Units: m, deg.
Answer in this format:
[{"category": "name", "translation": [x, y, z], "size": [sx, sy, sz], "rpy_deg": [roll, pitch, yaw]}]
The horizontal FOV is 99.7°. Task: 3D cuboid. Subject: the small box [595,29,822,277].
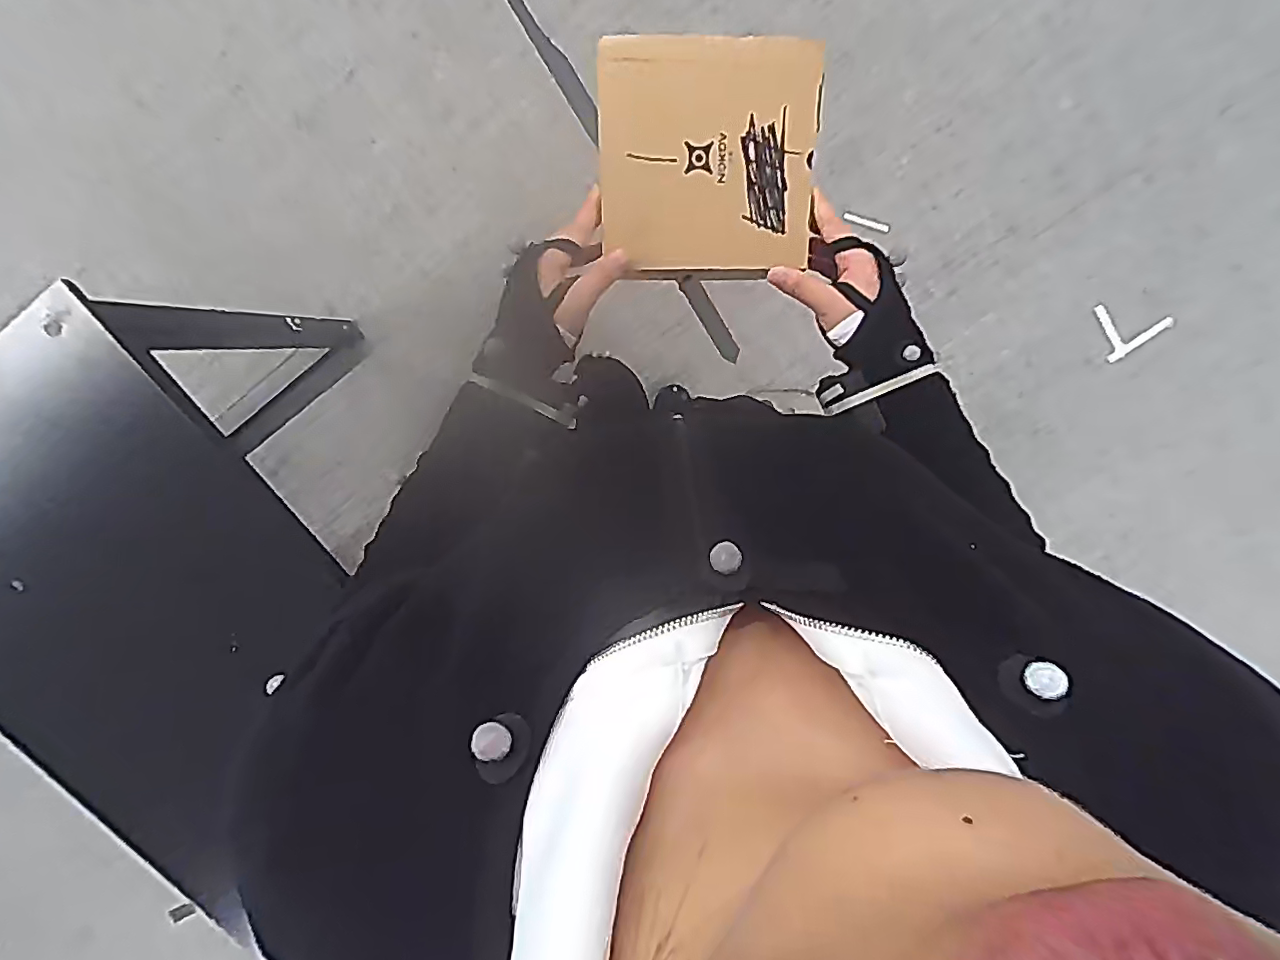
[{"category": "small box", "translation": [0.048, -0.283, 0.506], "size": [0.179, 0.176, 0.168], "rpy_deg": [-1, 108, -2]}]
